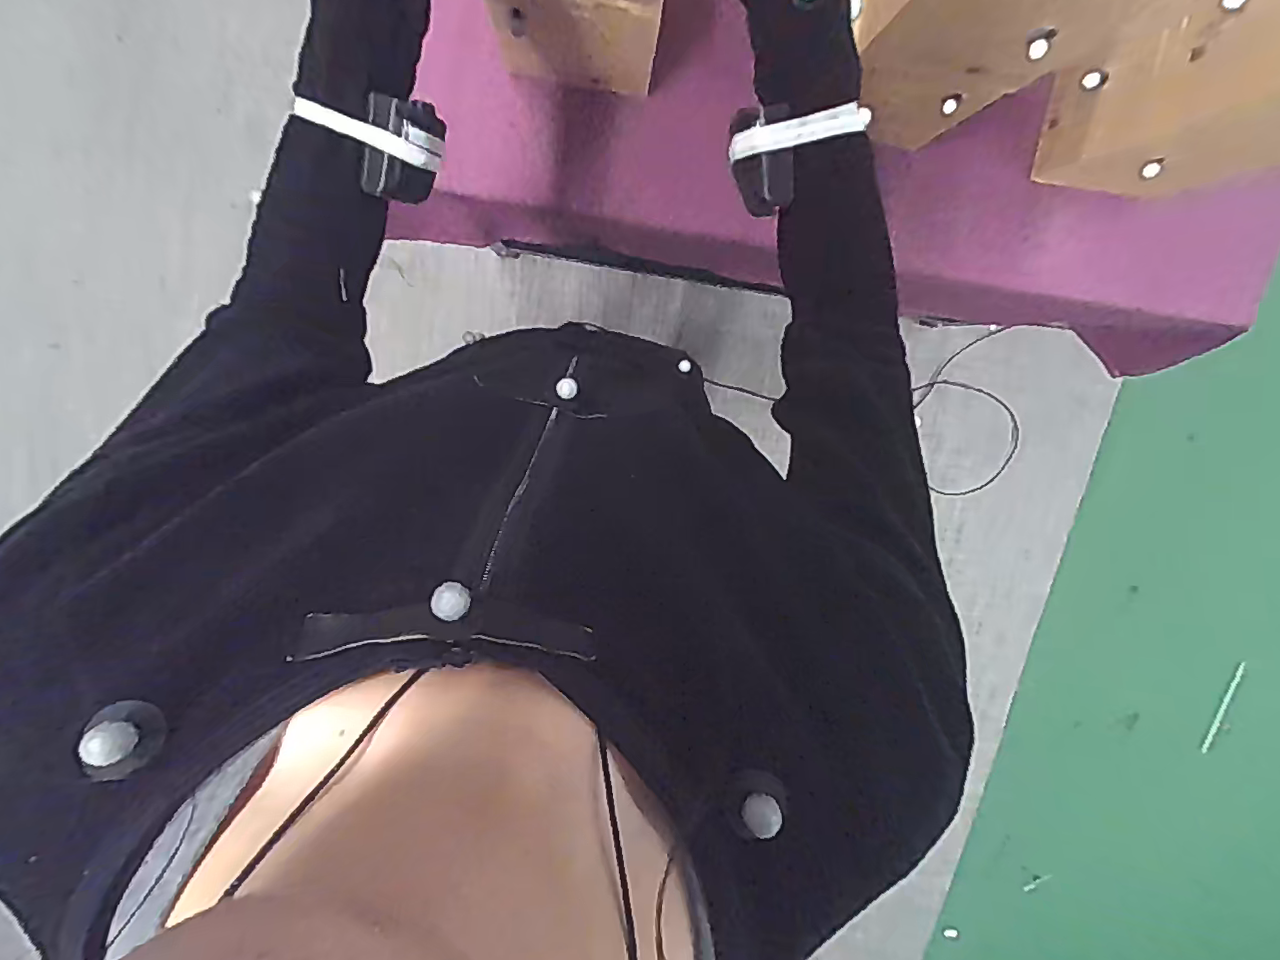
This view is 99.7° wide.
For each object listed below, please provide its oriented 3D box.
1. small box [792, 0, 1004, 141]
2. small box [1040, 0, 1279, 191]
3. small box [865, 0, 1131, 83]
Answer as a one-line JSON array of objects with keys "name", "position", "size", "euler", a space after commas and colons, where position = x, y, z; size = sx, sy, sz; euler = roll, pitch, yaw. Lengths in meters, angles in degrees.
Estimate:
[{"name": "small box", "position": [0.281, -0.490, 0.574], "size": [0.179, 0.176, 0.168], "euler": [8, 103, -7]}, {"name": "small box", "position": [0.603, -0.442, 0.605], "size": [0.179, 0.176, 0.168], "euler": [5, 104, -4]}, {"name": "small box", "position": [0.299, -0.451, 0.418], "size": [0.168, 0.176, 0.179], "euler": [6, 103, -7]}]
